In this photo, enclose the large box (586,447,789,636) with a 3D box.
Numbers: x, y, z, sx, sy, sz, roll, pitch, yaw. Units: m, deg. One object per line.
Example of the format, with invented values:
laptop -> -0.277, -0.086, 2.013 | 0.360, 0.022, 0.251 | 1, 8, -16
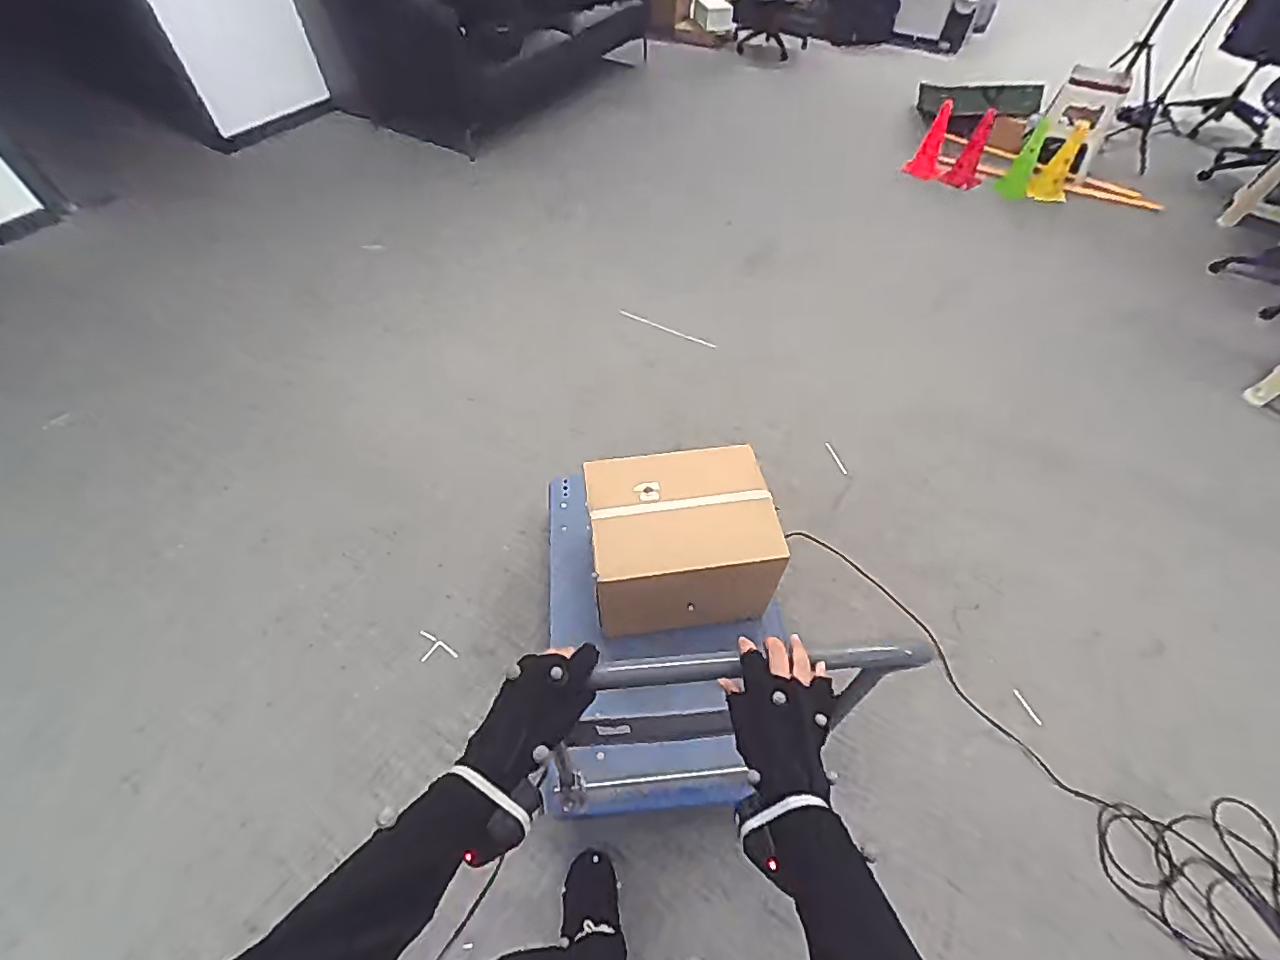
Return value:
large box -> 0.093, 0.154, 1.311 | 0.408, 0.320, 0.320 | -7, 53, -5
